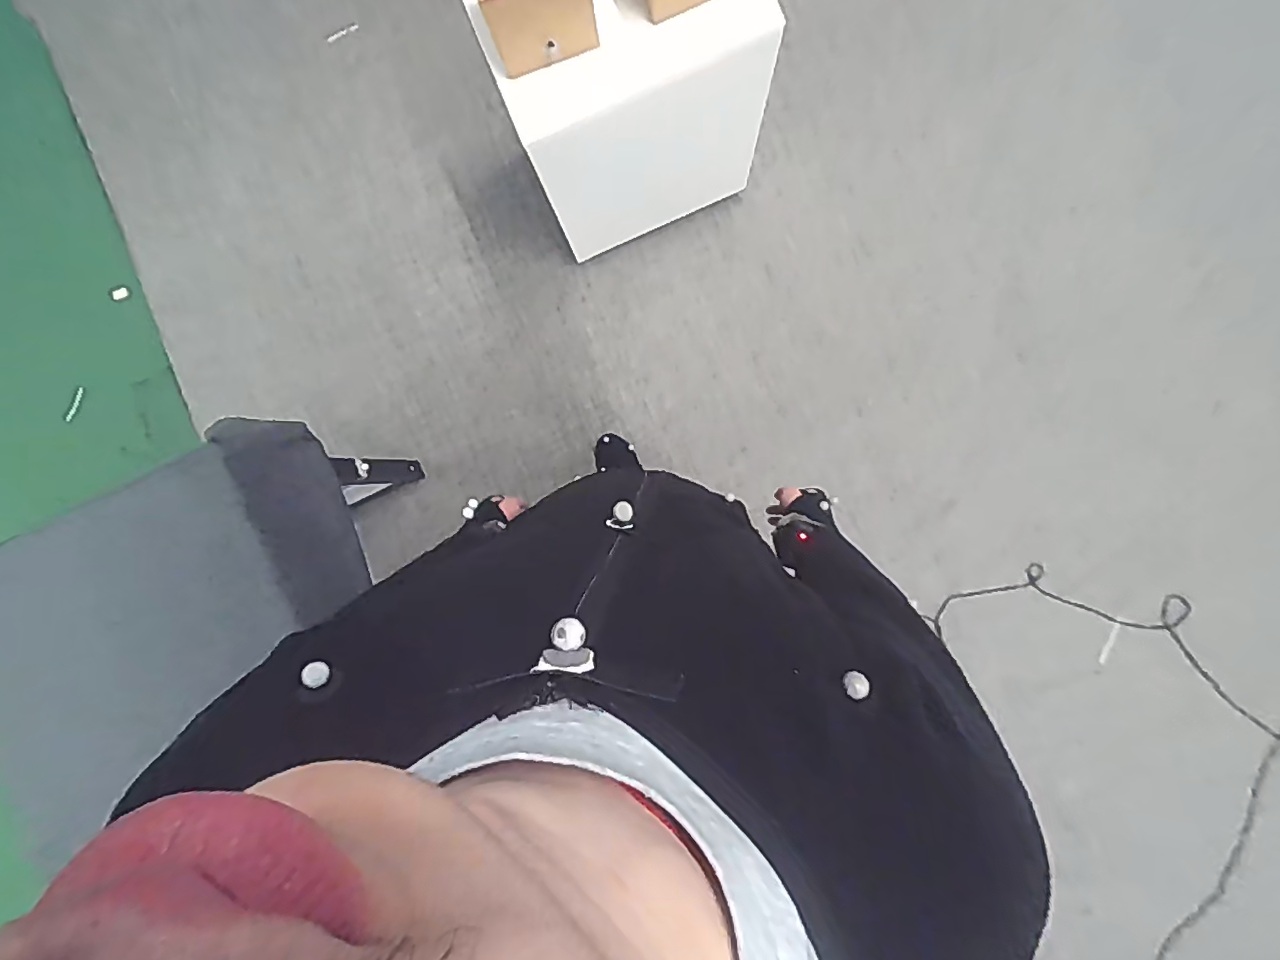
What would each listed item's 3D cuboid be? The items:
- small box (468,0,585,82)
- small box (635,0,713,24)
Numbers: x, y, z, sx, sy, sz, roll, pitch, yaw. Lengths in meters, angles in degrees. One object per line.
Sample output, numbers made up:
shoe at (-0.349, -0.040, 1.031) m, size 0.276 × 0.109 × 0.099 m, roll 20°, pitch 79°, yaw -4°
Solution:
small box at (-0.194, -0.801, 0.872) m, size 0.179 × 0.176 × 0.168 m, roll -19°, pitch 89°, yaw 0°
small box at (0.055, -0.894, 0.865) m, size 0.179 × 0.176 × 0.168 m, roll -23°, pitch 89°, yaw 1°
